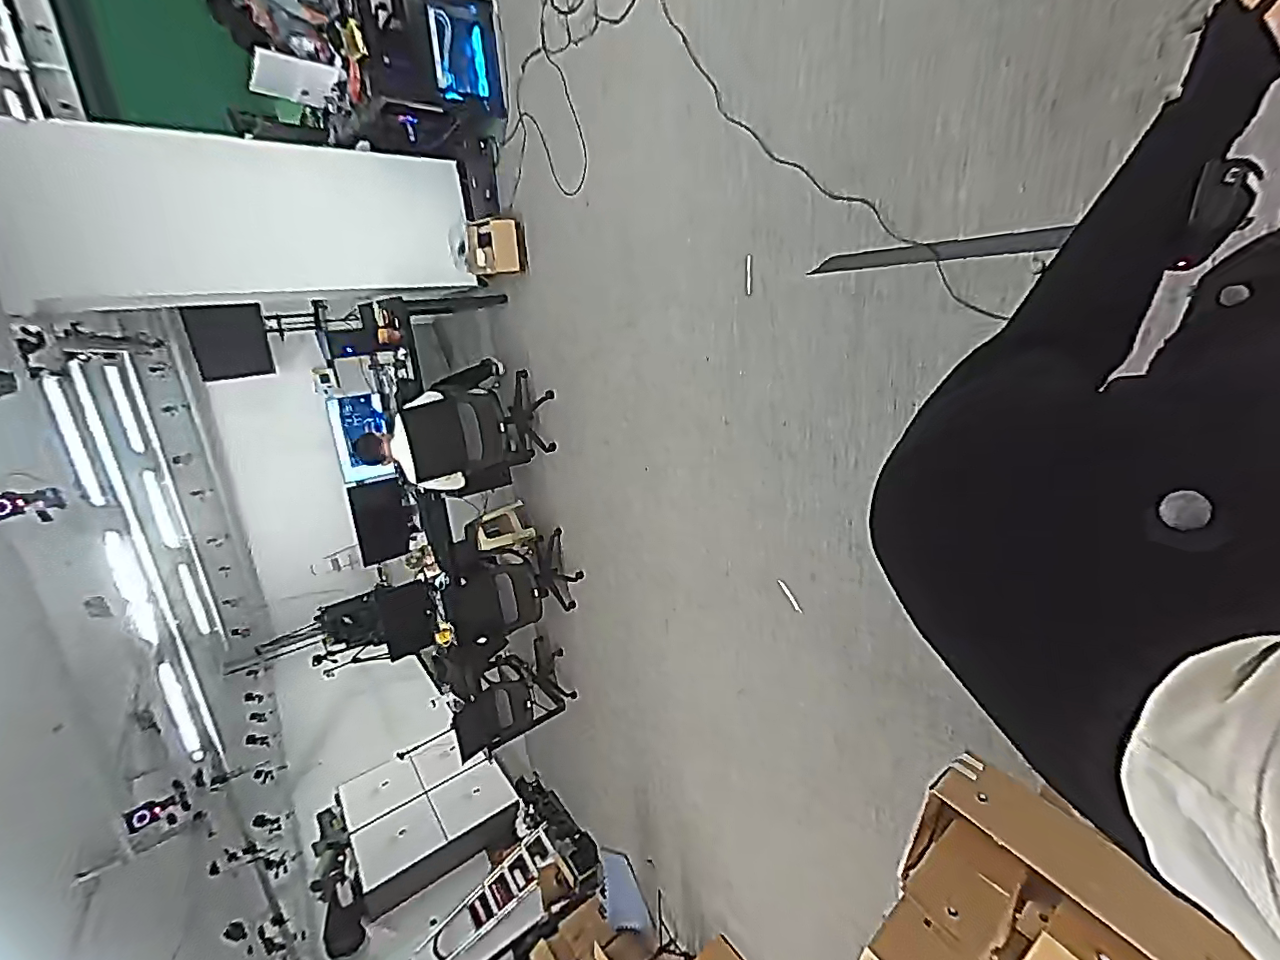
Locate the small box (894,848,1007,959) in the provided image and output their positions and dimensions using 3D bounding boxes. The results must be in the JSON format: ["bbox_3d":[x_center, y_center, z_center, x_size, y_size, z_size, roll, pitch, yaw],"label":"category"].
[{"bbox_3d":[0.702,1.003,1.237,0.179,0.176,0.168,25,125,48],"label":"small box"}]

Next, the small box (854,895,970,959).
[{"bbox_3d":[0.571,1.048,1.149,0.168,0.176,0.179,32,130,43],"label":"small box"}]

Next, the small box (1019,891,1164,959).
[{"bbox_3d":[0.968,1.042,1.167,0.179,0.176,0.168,32,130,46],"label":"small box"}]
